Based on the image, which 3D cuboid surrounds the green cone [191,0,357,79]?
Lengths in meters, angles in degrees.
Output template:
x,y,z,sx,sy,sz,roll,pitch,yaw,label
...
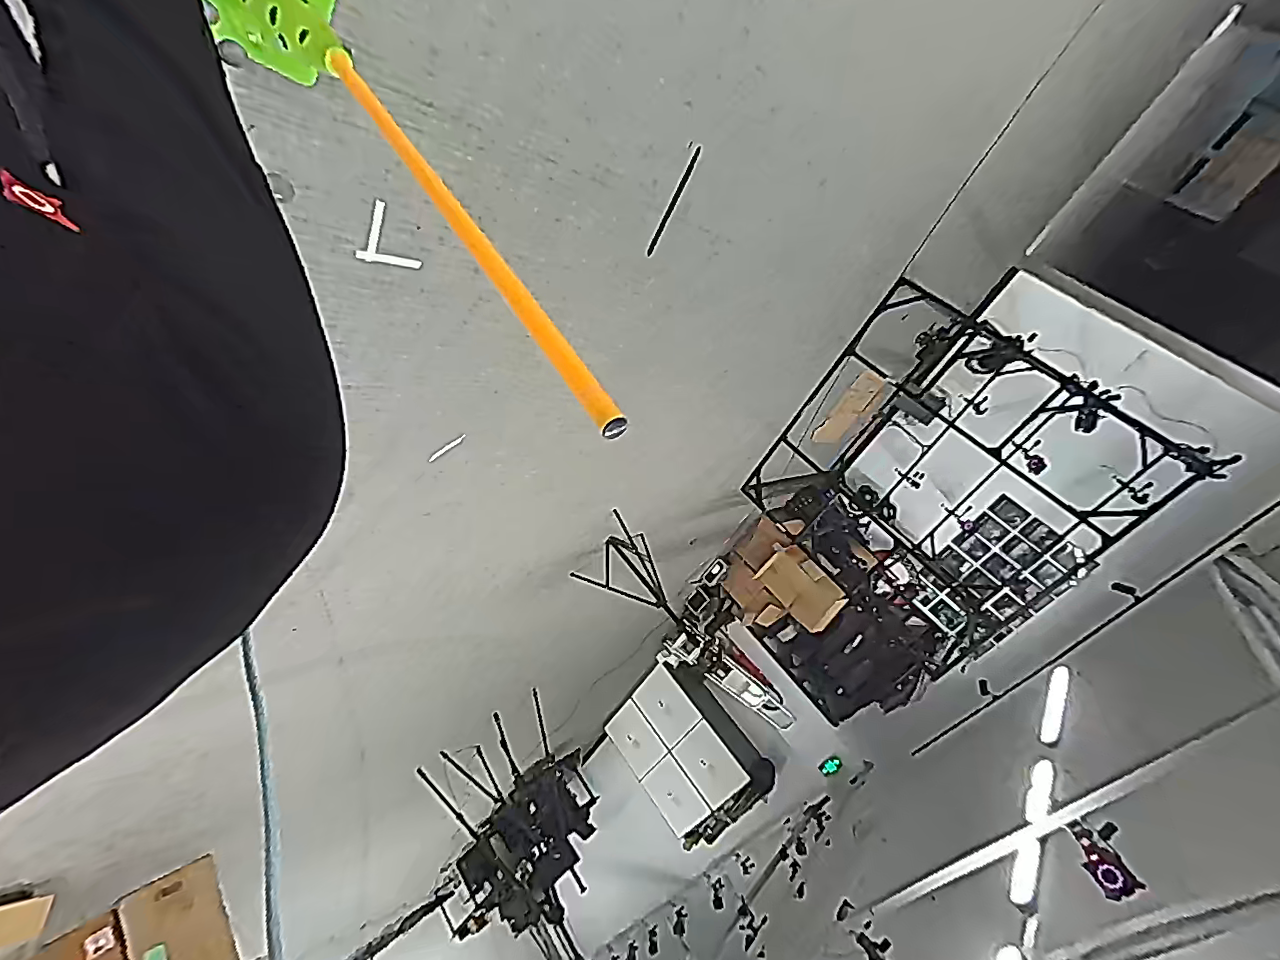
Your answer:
x,y,z,sx,sy,sz,roll,pitch,yaw,label
-0.579,-0.768,0.917,0.202,0.368,0.200,-6,136,-54,green cone
